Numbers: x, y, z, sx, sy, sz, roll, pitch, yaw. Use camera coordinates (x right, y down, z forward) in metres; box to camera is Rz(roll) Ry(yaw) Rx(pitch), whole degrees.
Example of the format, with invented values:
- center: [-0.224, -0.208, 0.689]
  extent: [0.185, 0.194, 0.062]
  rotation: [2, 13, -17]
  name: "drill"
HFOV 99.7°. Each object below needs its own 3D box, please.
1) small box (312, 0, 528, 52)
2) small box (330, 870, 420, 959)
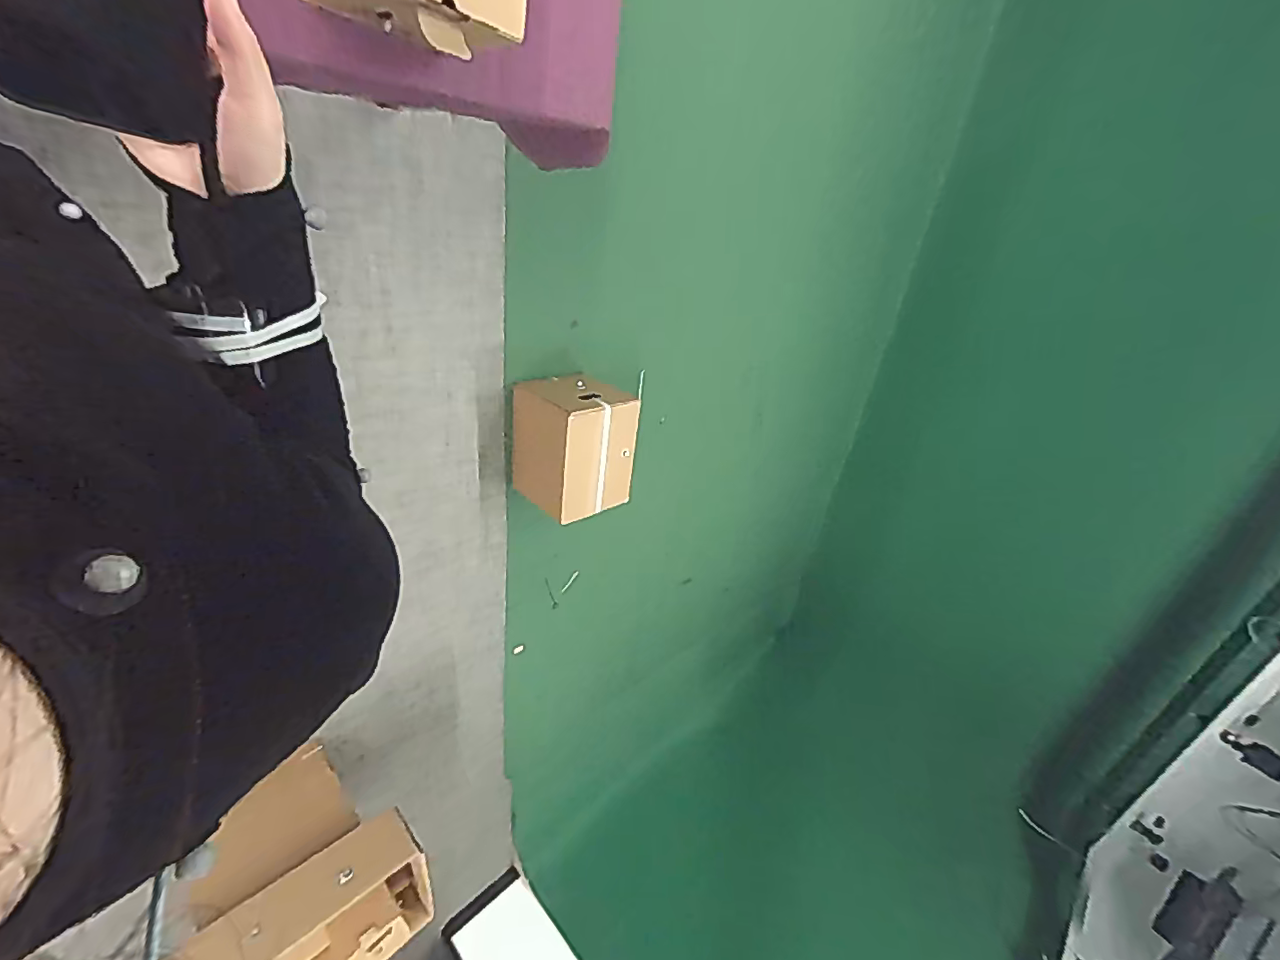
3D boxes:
- center: [-0.218, -0.541, 0.512]
  extent: [0.168, 0.176, 0.179]
  rotation: [-15, 126, -43]
  name: "small box"
- center: [-0.774, 1.290, 1.577]
  extent: [0.168, 0.176, 0.179]
  rotation: [-28, 135, -35]
  name: "small box"
